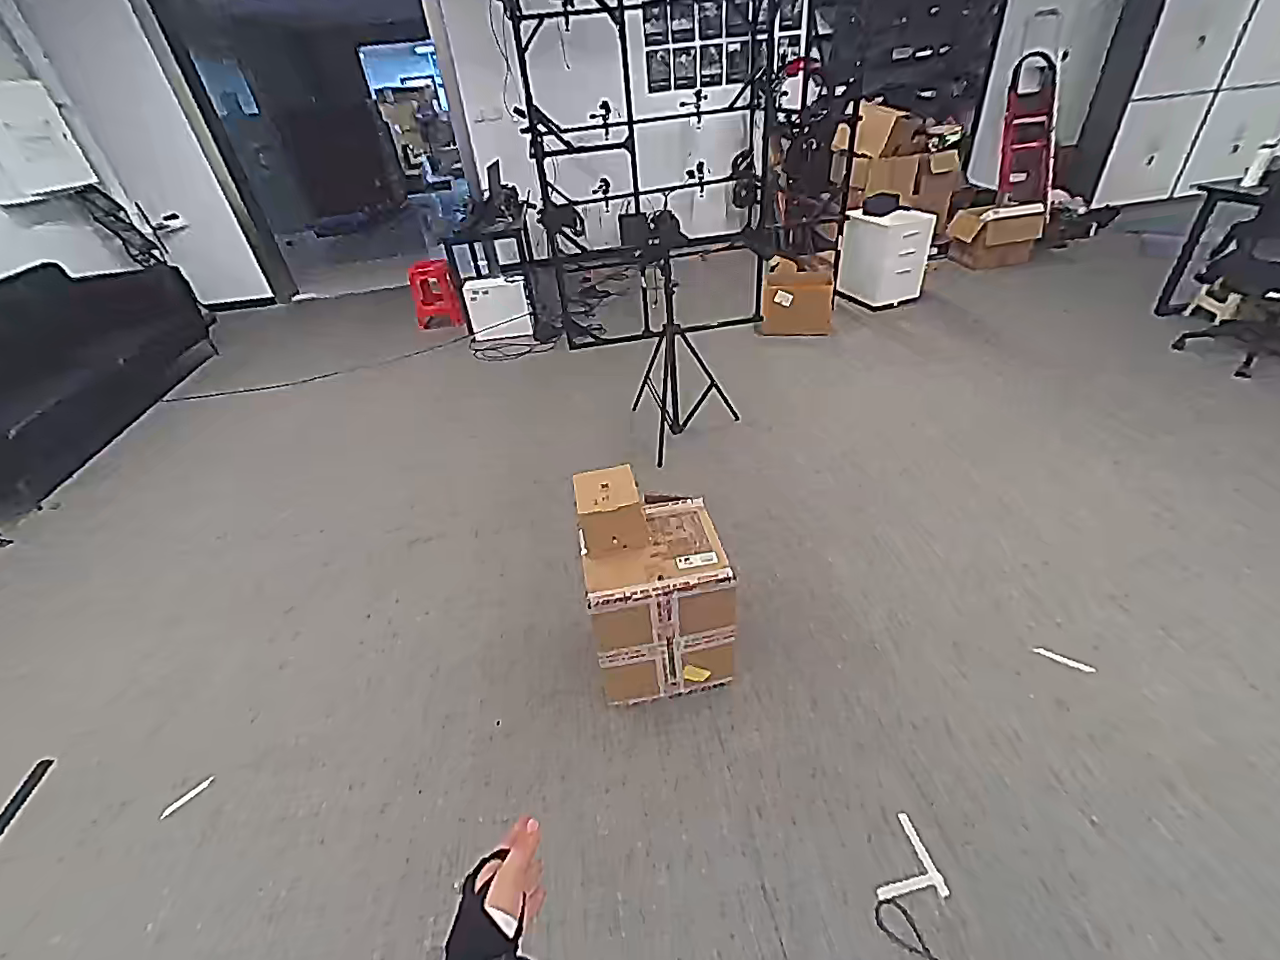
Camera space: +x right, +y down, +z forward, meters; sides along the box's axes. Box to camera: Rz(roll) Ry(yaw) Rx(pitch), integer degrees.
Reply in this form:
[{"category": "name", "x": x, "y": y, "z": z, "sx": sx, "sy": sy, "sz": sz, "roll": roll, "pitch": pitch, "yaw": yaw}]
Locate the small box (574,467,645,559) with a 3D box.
[{"category": "small box", "x": -0.085, "y": 0.091, "z": 1.506, "sx": 0.168, "sy": 0.176, "sz": 0.179, "roll": -11, "pitch": 39, "yaw": -4}]
